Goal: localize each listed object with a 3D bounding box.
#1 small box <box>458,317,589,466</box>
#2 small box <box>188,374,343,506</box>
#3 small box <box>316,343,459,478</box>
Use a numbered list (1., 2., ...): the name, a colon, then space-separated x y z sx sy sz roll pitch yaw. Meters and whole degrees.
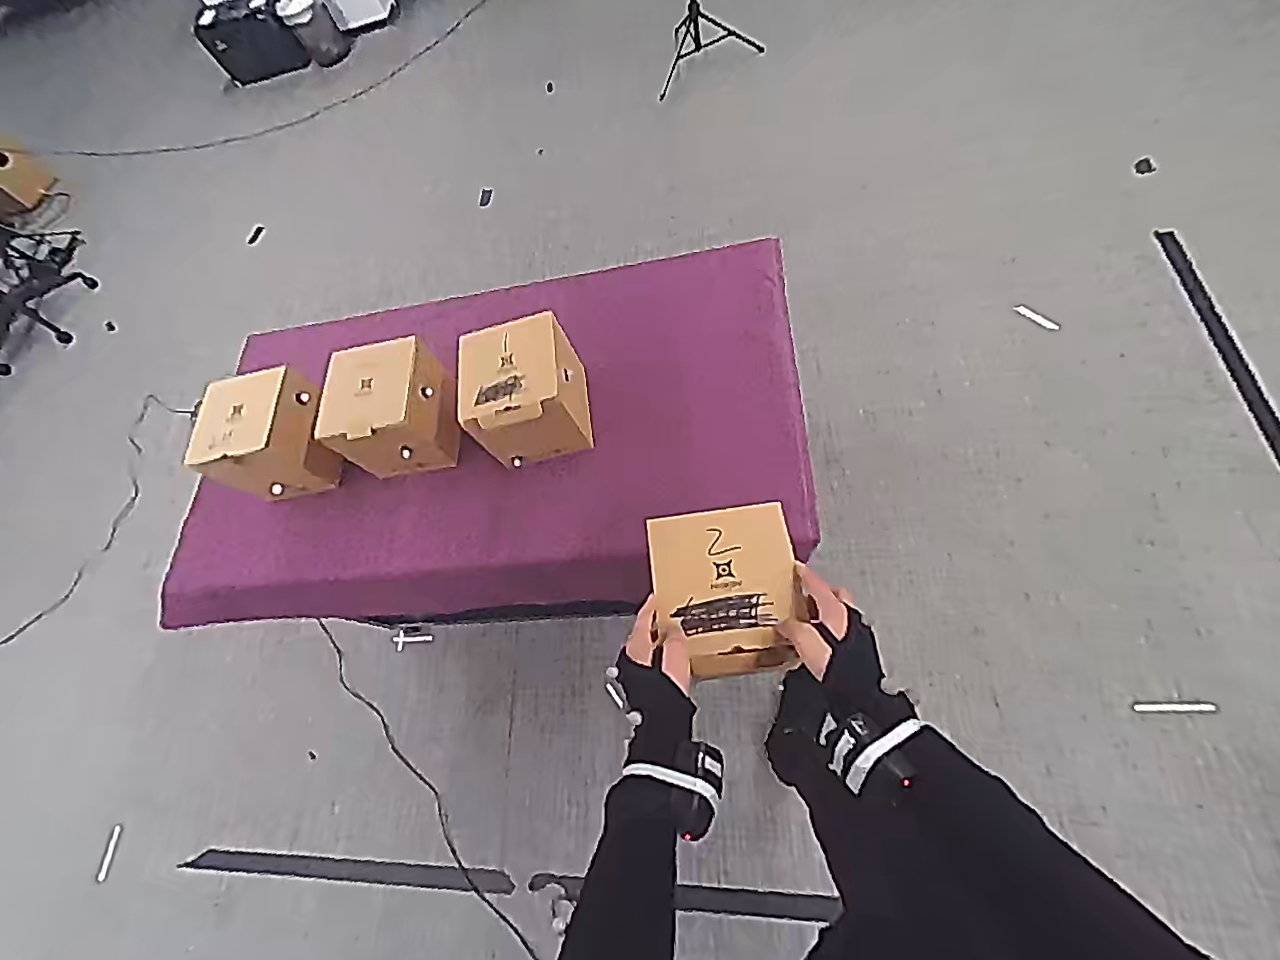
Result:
1. small box: -0.193 -0.138 0.921 0.168 0.176 0.179 -14 63 8
2. small box: -0.682 -0.069 1.015 0.168 0.176 0.179 -10 65 11
3. small box: -0.439 -0.113 0.975 0.168 0.176 0.179 -8 65 10
